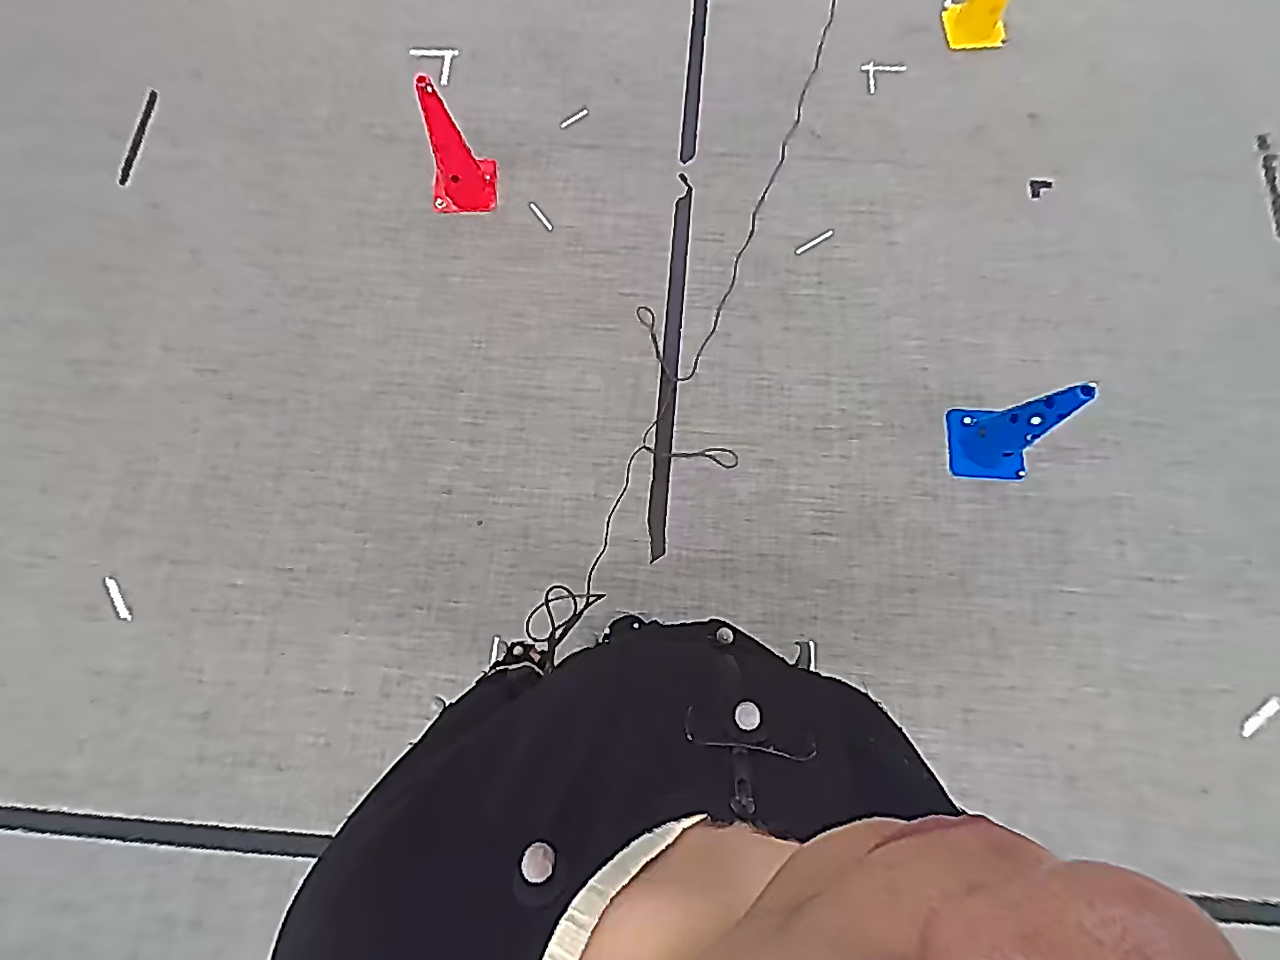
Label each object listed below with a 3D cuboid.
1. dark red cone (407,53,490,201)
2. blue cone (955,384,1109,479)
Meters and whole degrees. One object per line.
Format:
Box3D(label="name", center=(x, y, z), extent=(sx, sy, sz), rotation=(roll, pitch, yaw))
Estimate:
Box3D(label="dark red cone", center=(-0.567, -0.993, 1.529), extent=(0.201, 0.394, 0.202), rotation=(-3, 75, -1))
Box3D(label="blue cone", center=(0.958, -0.139, 1.317), extent=(0.192, 0.380, 0.193), rotation=(5, 75, 1))
